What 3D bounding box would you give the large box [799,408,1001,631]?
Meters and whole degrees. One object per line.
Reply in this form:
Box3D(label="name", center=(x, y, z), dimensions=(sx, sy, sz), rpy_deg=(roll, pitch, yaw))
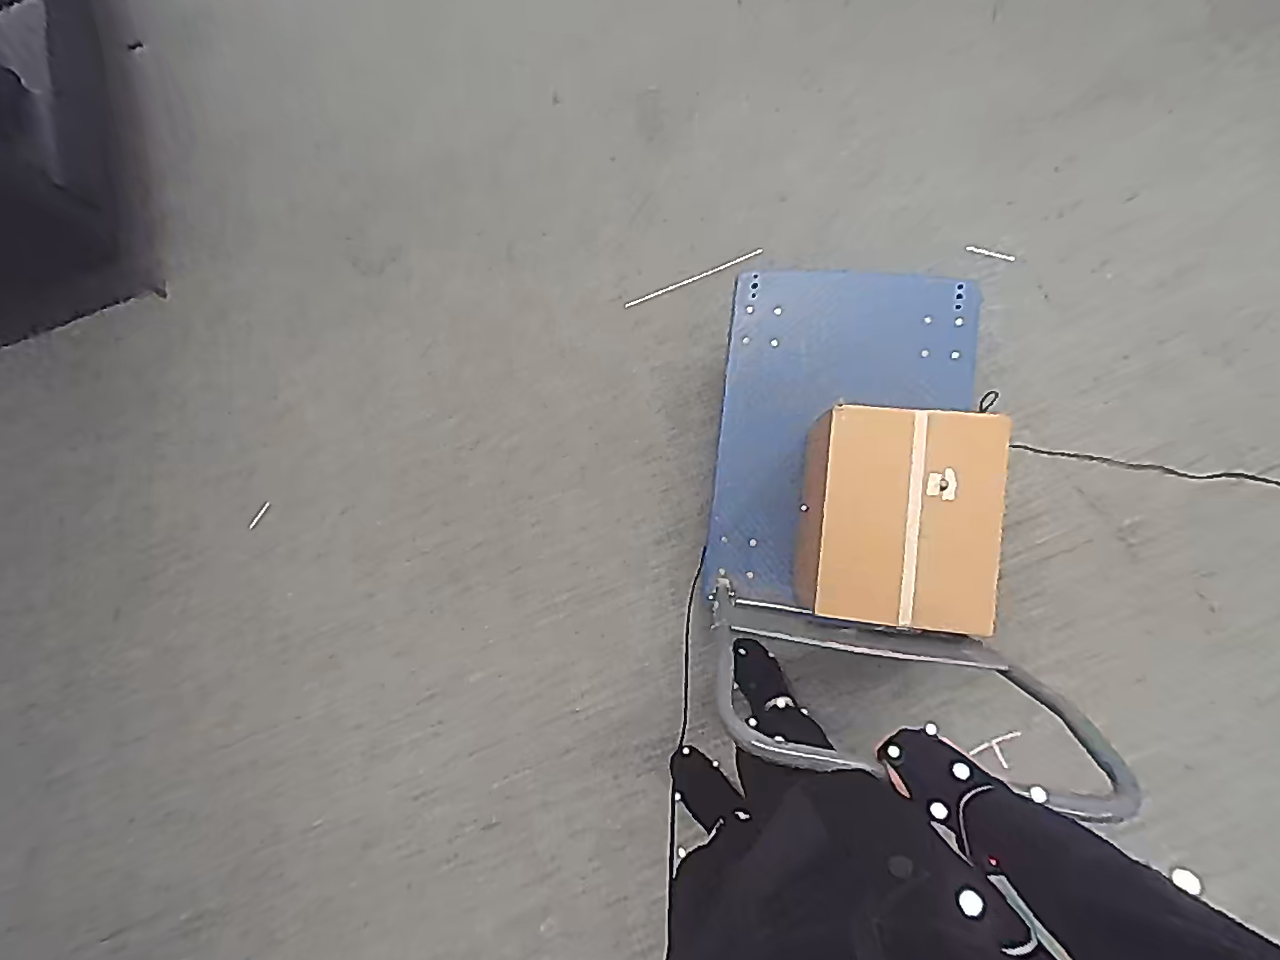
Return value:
Box3D(label="large box", center=(0.525, 0.079, 1.158), dimensions=(0.320, 0.320, 0.408), rpy_deg=(5, 87, 8))
